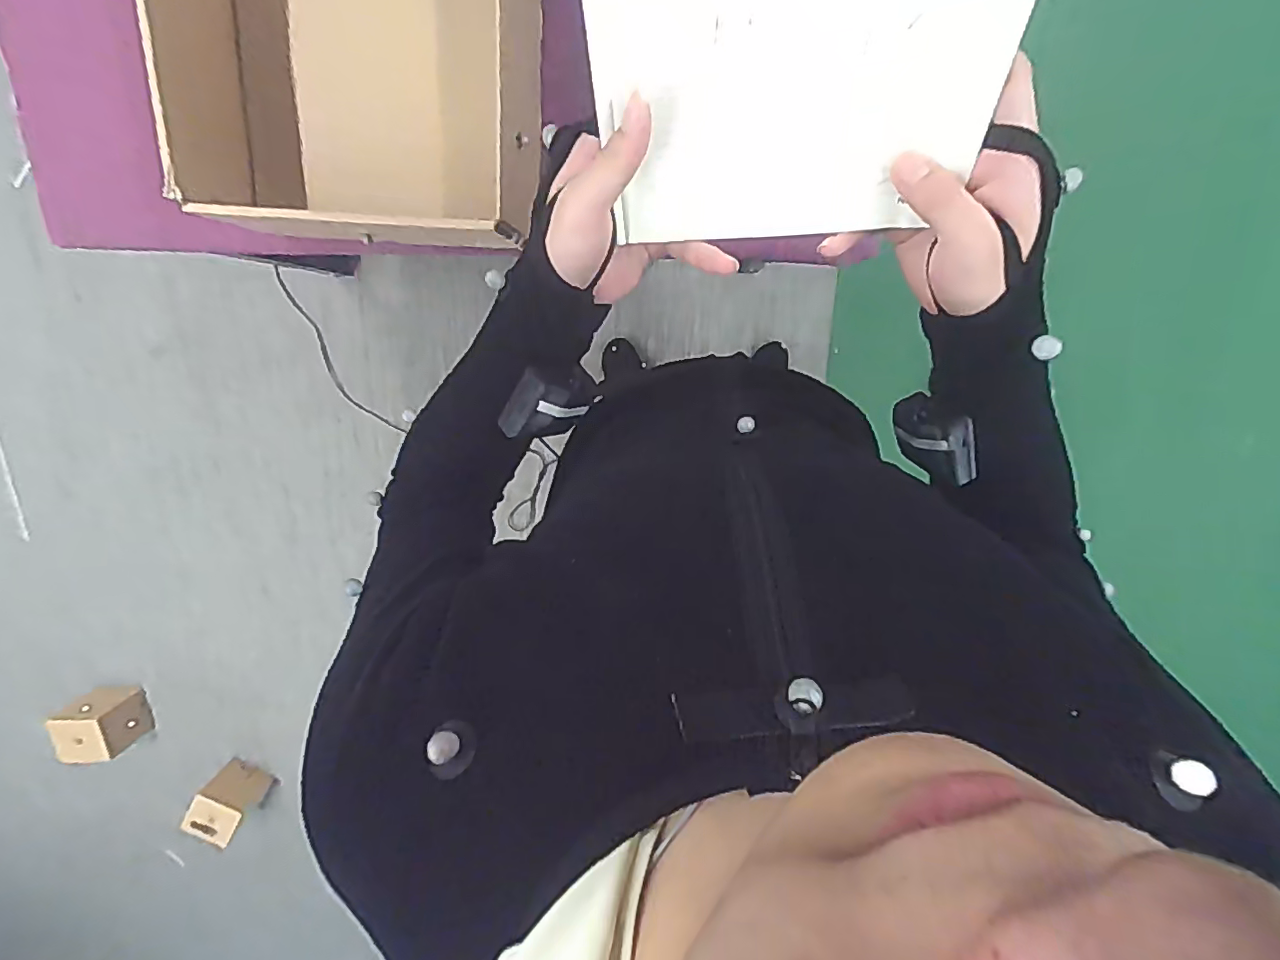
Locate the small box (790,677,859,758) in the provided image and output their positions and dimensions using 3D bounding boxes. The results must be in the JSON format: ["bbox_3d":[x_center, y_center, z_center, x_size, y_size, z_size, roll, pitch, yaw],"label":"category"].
[{"bbox_3d":[0.585,0.750,1.730,0.168,0.176,0.179,-9,104,4],"label":"small box"}]

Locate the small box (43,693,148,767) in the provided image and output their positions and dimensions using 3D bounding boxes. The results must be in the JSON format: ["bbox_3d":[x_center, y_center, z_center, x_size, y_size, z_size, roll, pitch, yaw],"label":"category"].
[{"bbox_3d":[-1.817,0.837,1.821,0.179,0.176,0.168,-2,104,2],"label":"small box"}]
